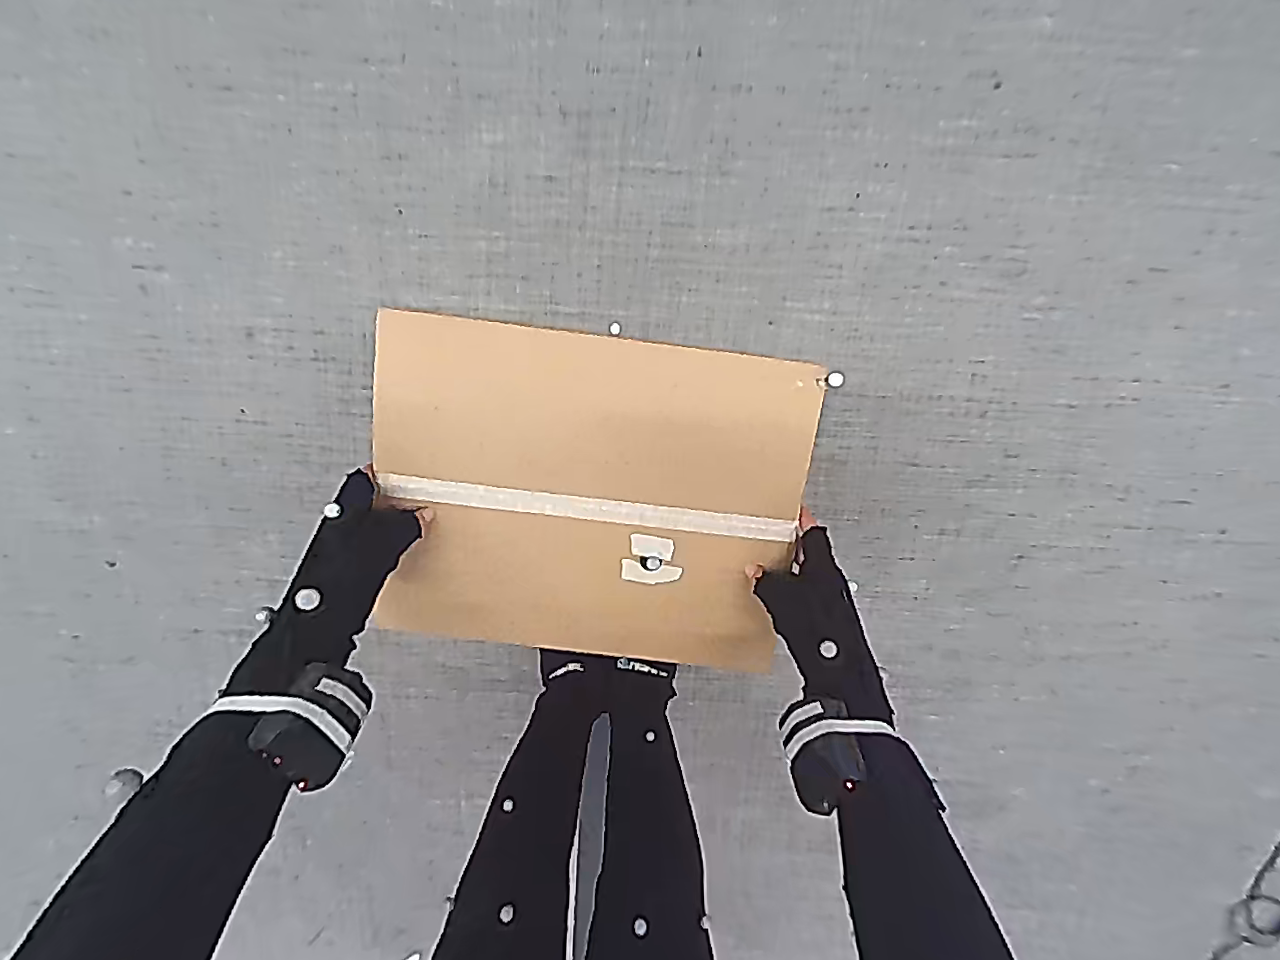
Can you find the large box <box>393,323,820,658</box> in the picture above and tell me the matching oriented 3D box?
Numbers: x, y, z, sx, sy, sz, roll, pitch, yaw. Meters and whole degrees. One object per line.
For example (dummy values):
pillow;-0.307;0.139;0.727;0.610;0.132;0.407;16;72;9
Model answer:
large box;-0.046;-0.010;0.678;0.408;0.320;0.320;6;104;-2
